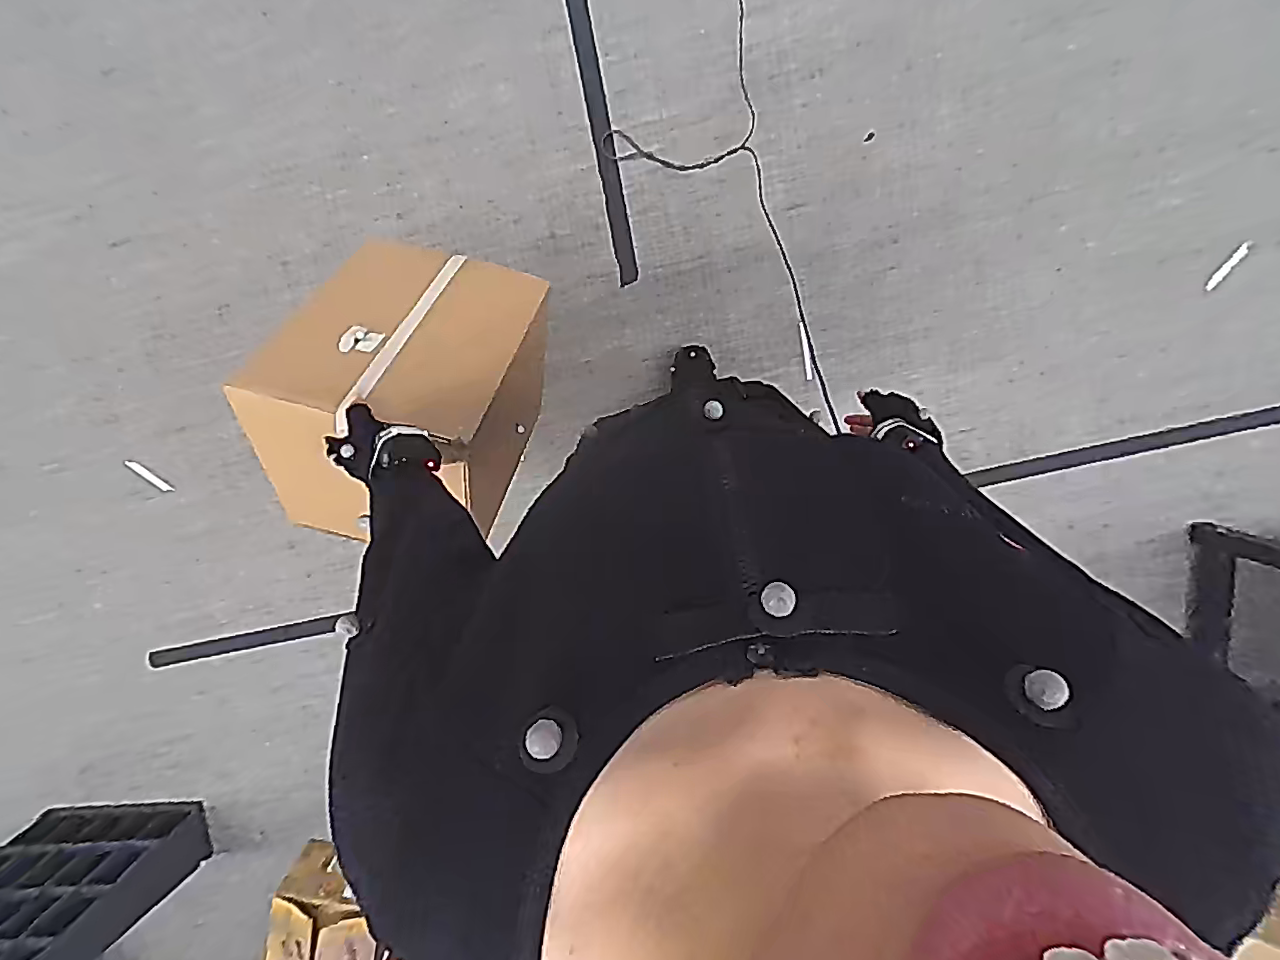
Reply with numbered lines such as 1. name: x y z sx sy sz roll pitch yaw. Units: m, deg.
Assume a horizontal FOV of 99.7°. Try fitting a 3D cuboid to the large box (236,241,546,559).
1. large box: -0.371 -0.137 0.935 0.320 0.408 0.320 14 141 -2
